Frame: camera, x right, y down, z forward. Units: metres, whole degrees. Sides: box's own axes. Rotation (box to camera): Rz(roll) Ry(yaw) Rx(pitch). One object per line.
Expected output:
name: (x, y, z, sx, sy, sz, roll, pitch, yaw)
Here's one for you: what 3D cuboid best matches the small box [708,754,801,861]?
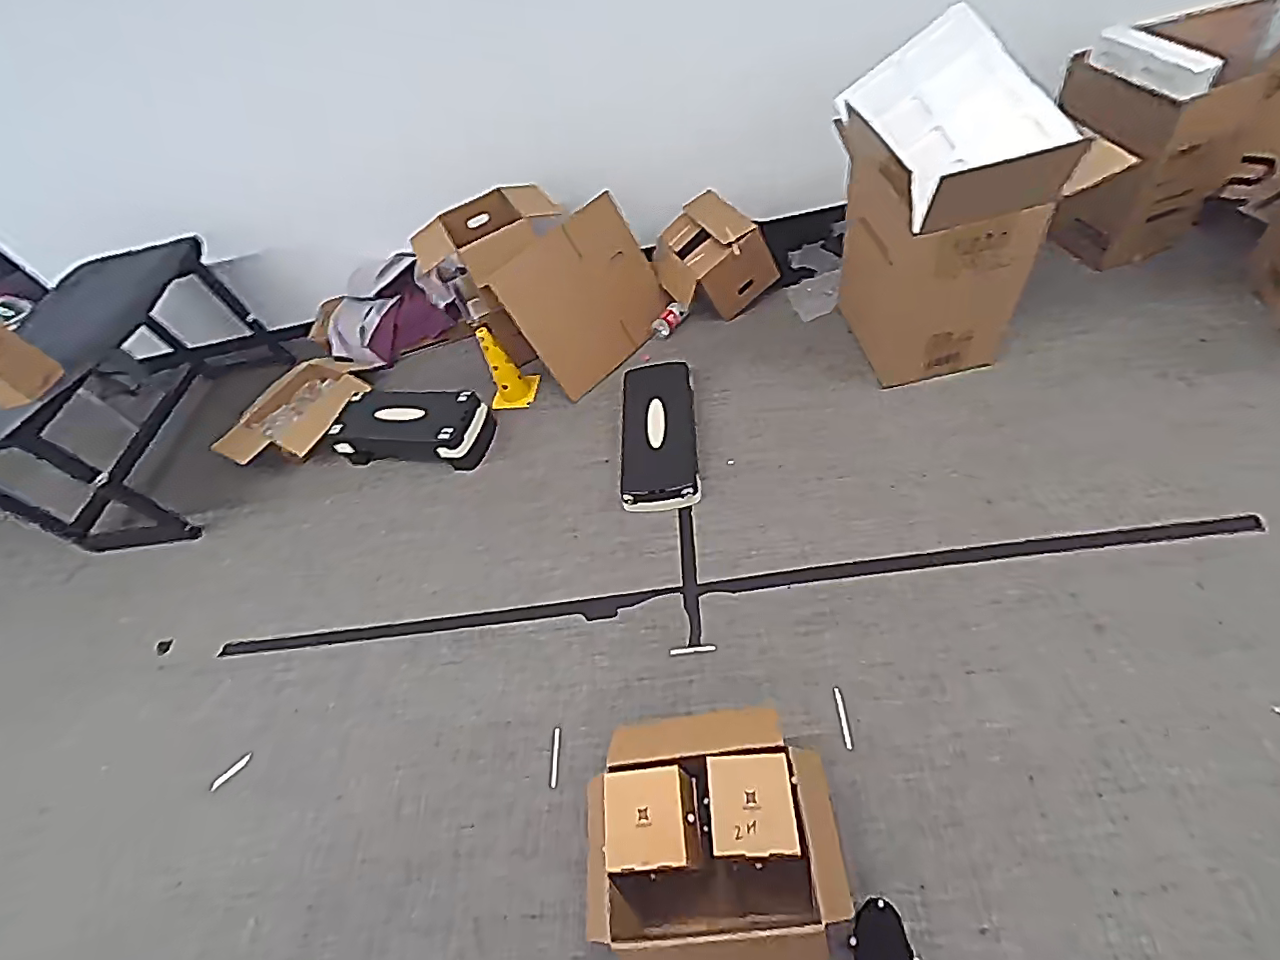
small box: (0.236, 0.685, 1.127, 0.168, 0.176, 0.179, -8, 53, 10)
